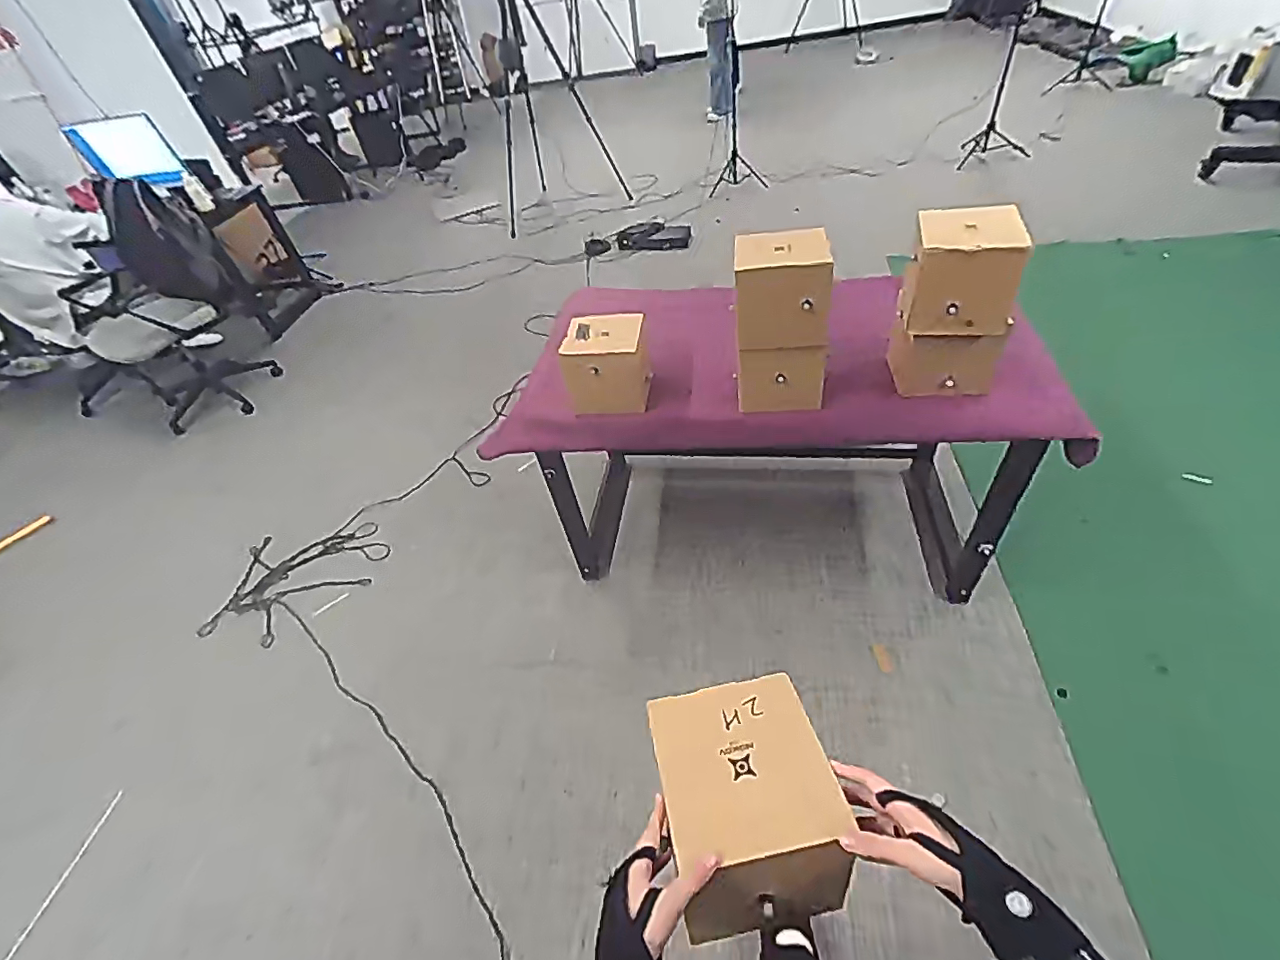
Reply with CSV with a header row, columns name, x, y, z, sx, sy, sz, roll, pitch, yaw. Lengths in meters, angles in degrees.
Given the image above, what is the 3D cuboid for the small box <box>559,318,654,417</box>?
name,x,y,z,sx,sy,sz,roll,pitch,yaw
small box,-0.070,-0.261,1.271,0.179,0.176,0.168,0,44,11

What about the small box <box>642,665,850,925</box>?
name,x,y,z,sx,sy,sz,roll,pitch,yaw
small box,0.103,0.334,0.575,0.168,0.176,0.179,-10,32,-4

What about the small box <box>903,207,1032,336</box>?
name,x,y,z,sx,sy,sz,roll,pitch,yaw
small box,0.601,-0.391,1.018,0.168,0.176,0.179,5,47,18

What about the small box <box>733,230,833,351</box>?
name,x,y,z,sx,sy,sz,roll,pitch,yaw
small box,0.278,-0.371,1.070,0.179,0.176,0.168,-1,43,13

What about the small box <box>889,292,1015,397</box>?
name,x,y,z,sx,sy,sz,roll,pitch,yaw
small box,0.643,-0.289,1.141,0.179,0.176,0.168,-1,44,12
